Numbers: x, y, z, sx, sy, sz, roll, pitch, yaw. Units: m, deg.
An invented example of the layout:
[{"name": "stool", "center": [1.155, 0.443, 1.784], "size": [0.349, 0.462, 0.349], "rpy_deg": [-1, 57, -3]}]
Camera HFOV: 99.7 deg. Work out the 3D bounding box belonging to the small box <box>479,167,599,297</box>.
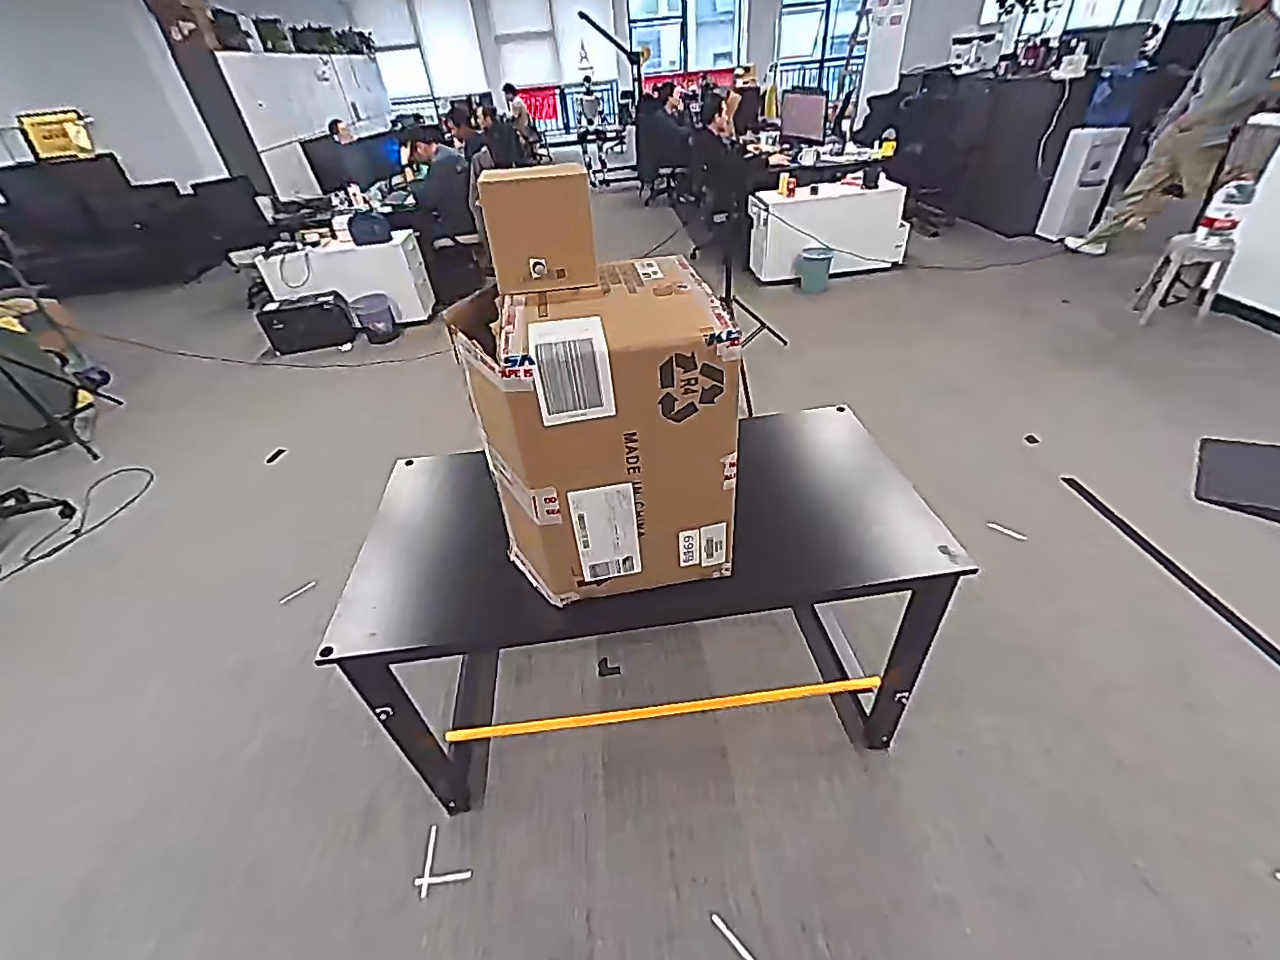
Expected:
[{"name": "small box", "center": [-0.167, -0.420, 0.912], "size": [0.168, 0.176, 0.179], "rpy_deg": [-10, 36, -7]}]
